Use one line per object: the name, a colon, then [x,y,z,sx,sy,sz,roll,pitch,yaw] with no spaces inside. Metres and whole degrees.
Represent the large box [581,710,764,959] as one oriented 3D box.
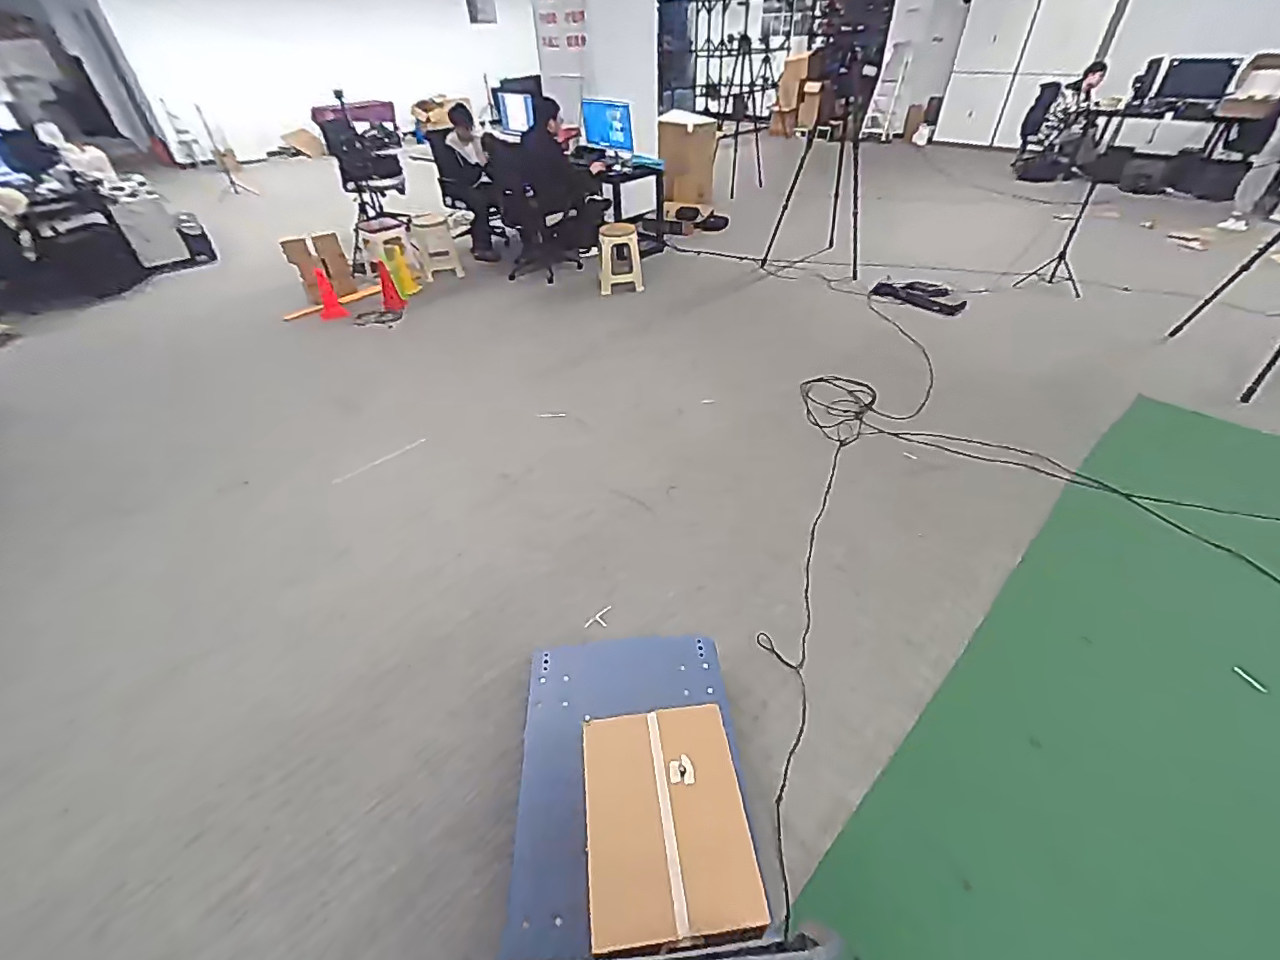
large box: [0.050,0.786,1.181,0.320,0.320,0.408,-5,39,-5]
